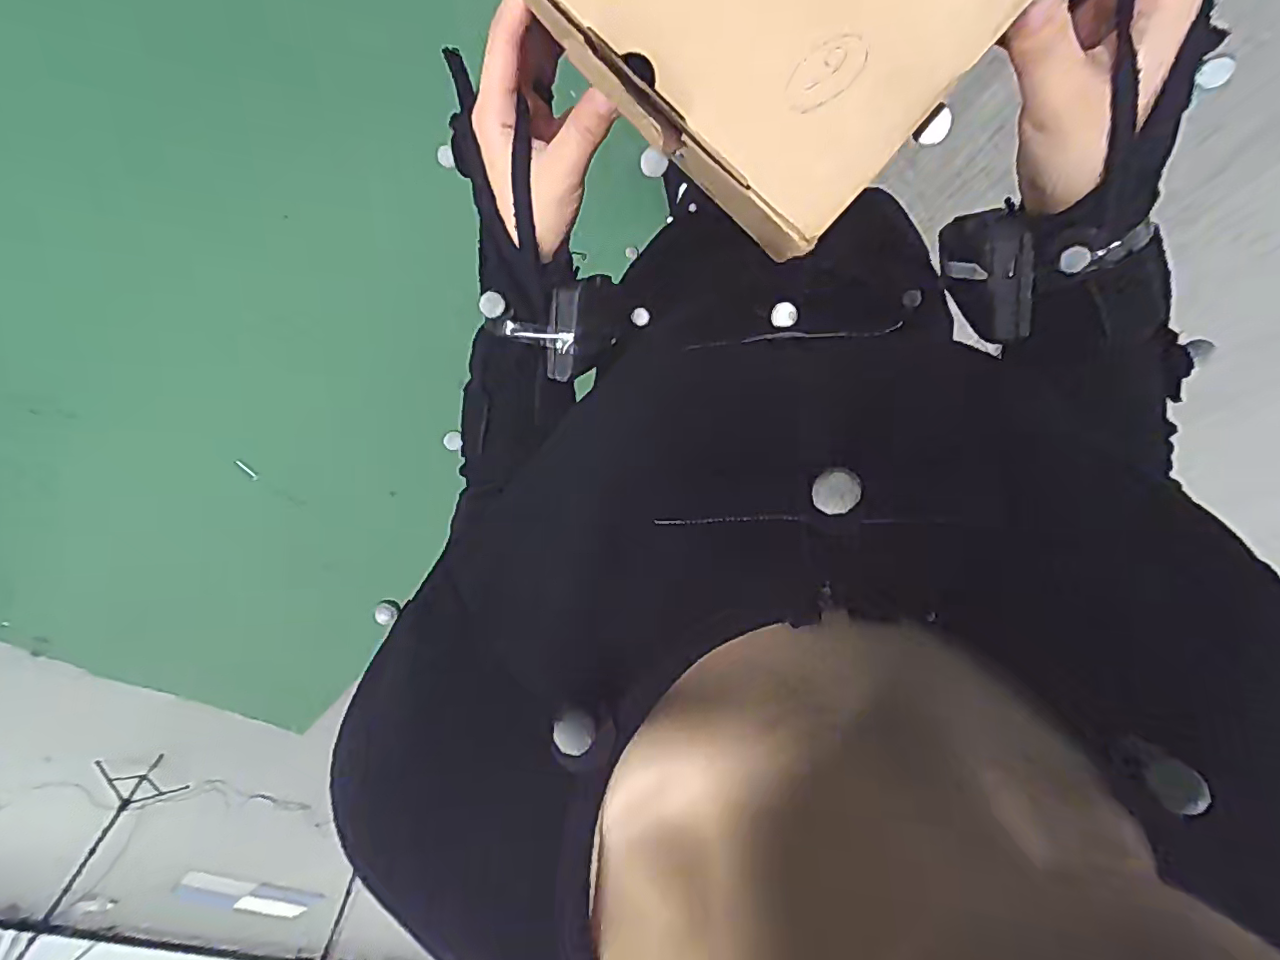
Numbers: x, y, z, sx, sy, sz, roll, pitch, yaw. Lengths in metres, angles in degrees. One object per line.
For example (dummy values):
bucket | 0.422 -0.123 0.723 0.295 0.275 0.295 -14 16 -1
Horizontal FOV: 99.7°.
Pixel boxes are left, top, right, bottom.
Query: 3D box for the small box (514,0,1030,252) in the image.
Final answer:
small box | 0.068 -0.221 0.232 0.168 0.176 0.179 41 113 -6
